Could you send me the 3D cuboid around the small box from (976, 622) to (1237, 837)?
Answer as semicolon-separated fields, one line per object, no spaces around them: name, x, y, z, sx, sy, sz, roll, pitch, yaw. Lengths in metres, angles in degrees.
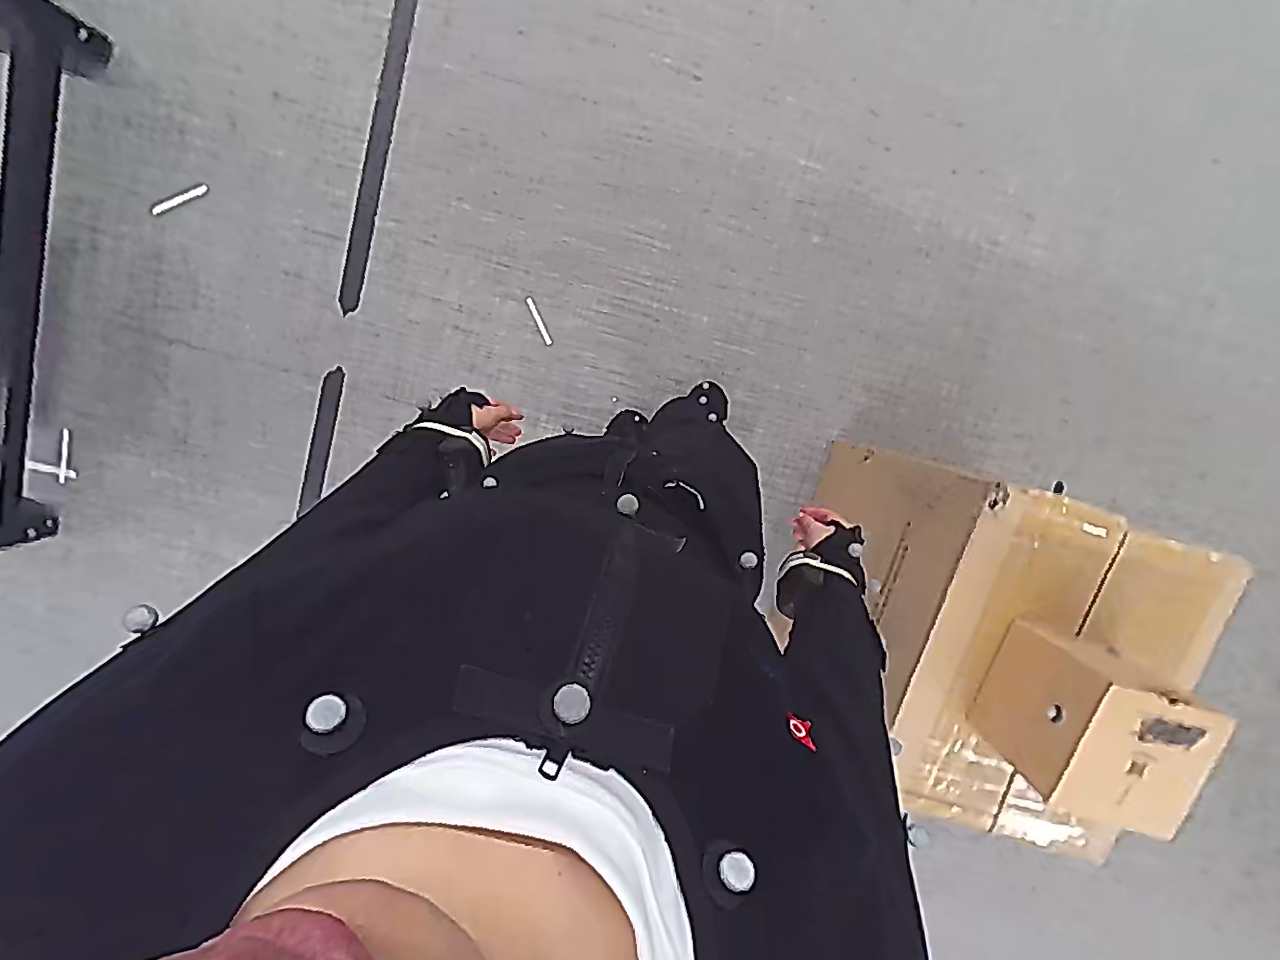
small box;0.591;0.314;0.714;0.168;0.176;0.179;18;100;-3
